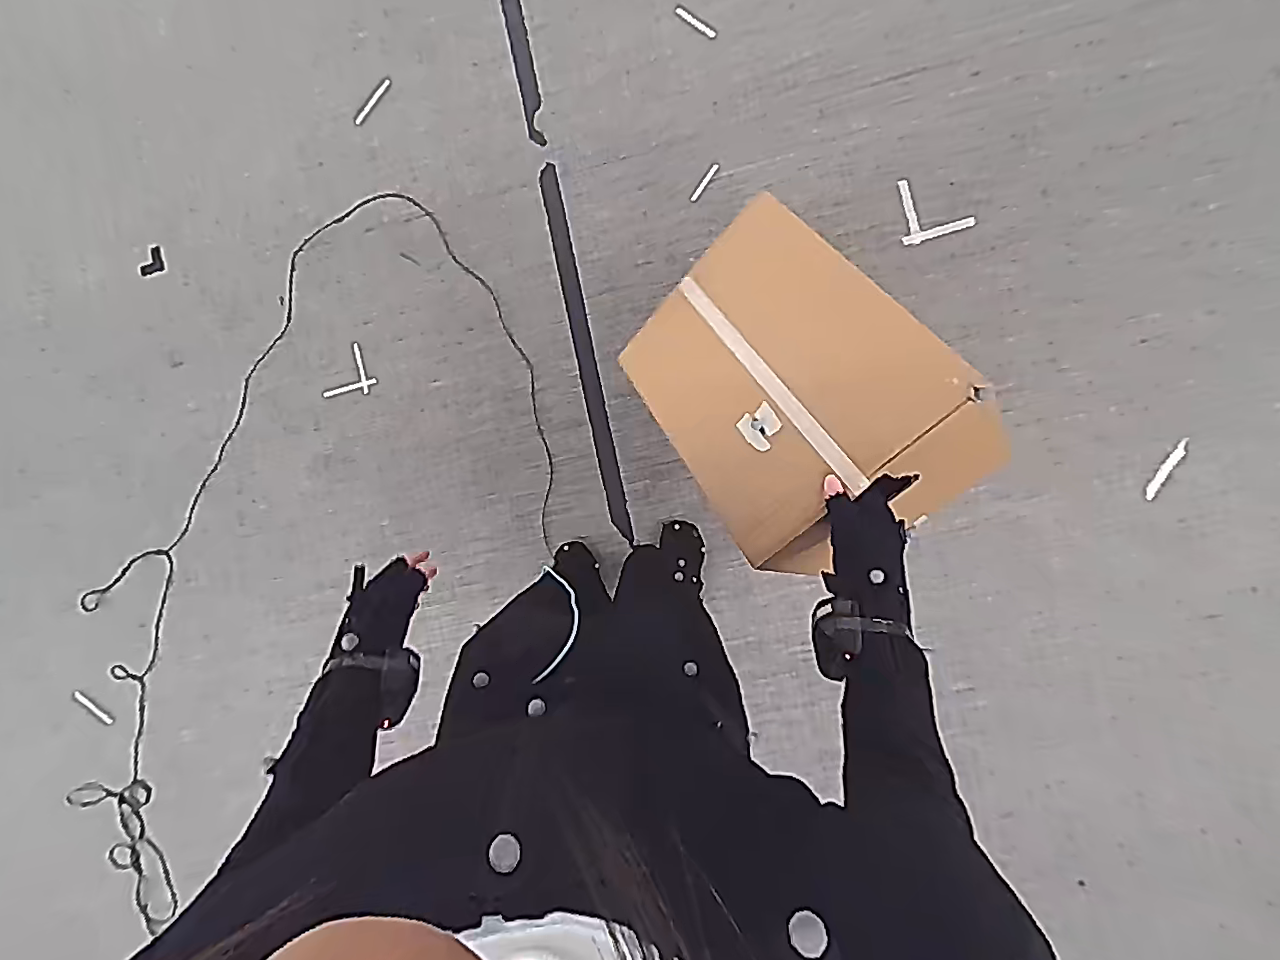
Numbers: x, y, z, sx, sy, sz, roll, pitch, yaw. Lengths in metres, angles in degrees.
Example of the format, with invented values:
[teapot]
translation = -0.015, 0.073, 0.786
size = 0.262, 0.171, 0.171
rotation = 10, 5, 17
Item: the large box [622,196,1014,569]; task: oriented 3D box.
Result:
[large box]
translation = 0.249, -0.119, 0.796
size = 0.320, 0.320, 0.408
rotation = -47, 57, 24
